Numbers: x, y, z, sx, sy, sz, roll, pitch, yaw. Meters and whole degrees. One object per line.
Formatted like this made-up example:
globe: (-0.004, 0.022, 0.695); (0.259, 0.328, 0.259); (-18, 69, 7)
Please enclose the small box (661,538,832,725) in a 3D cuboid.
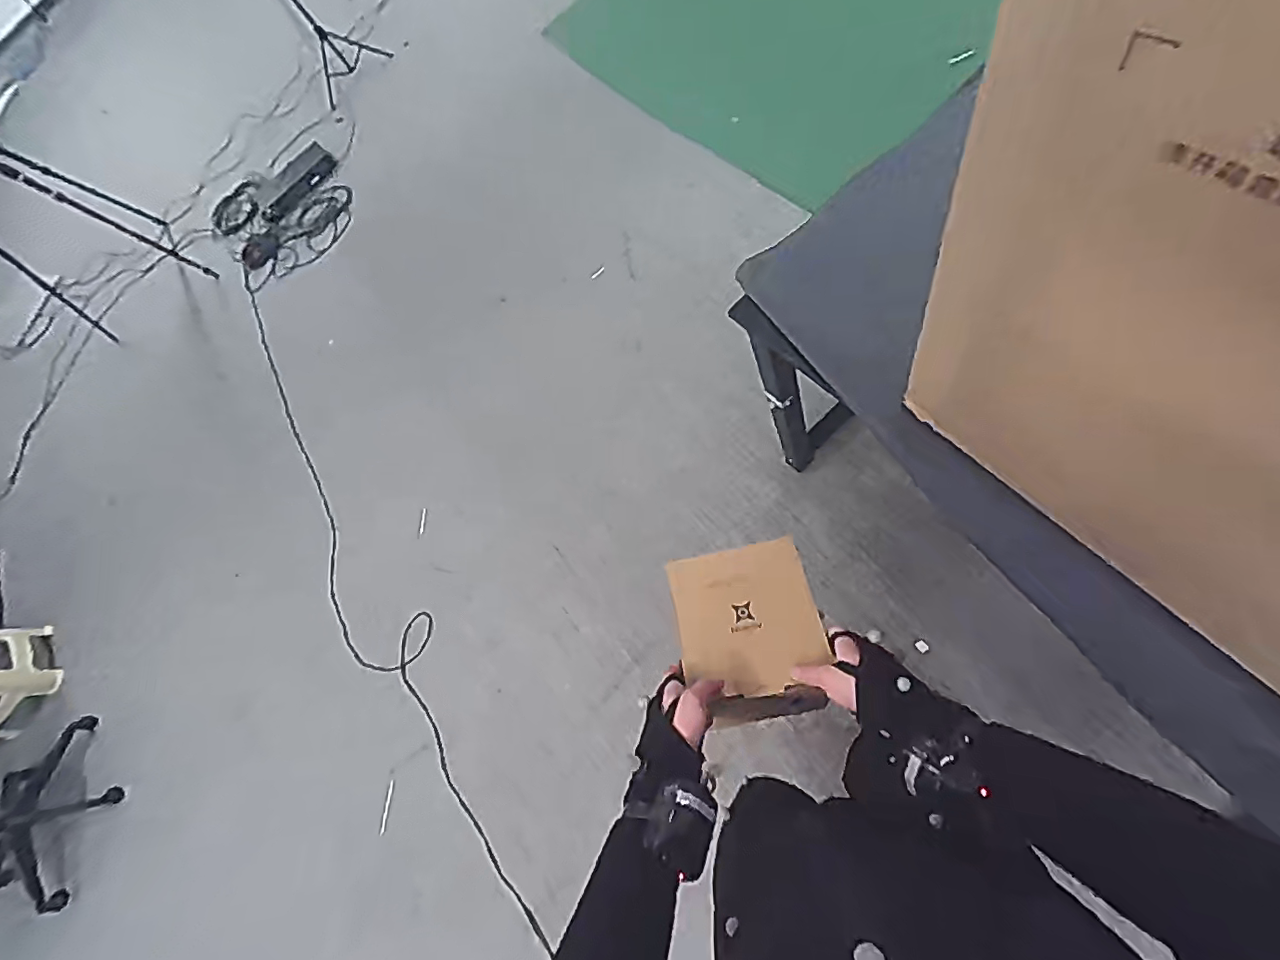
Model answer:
small box: (0.133, 0.204, 0.700); (0.168, 0.176, 0.179); (-14, 53, 3)
